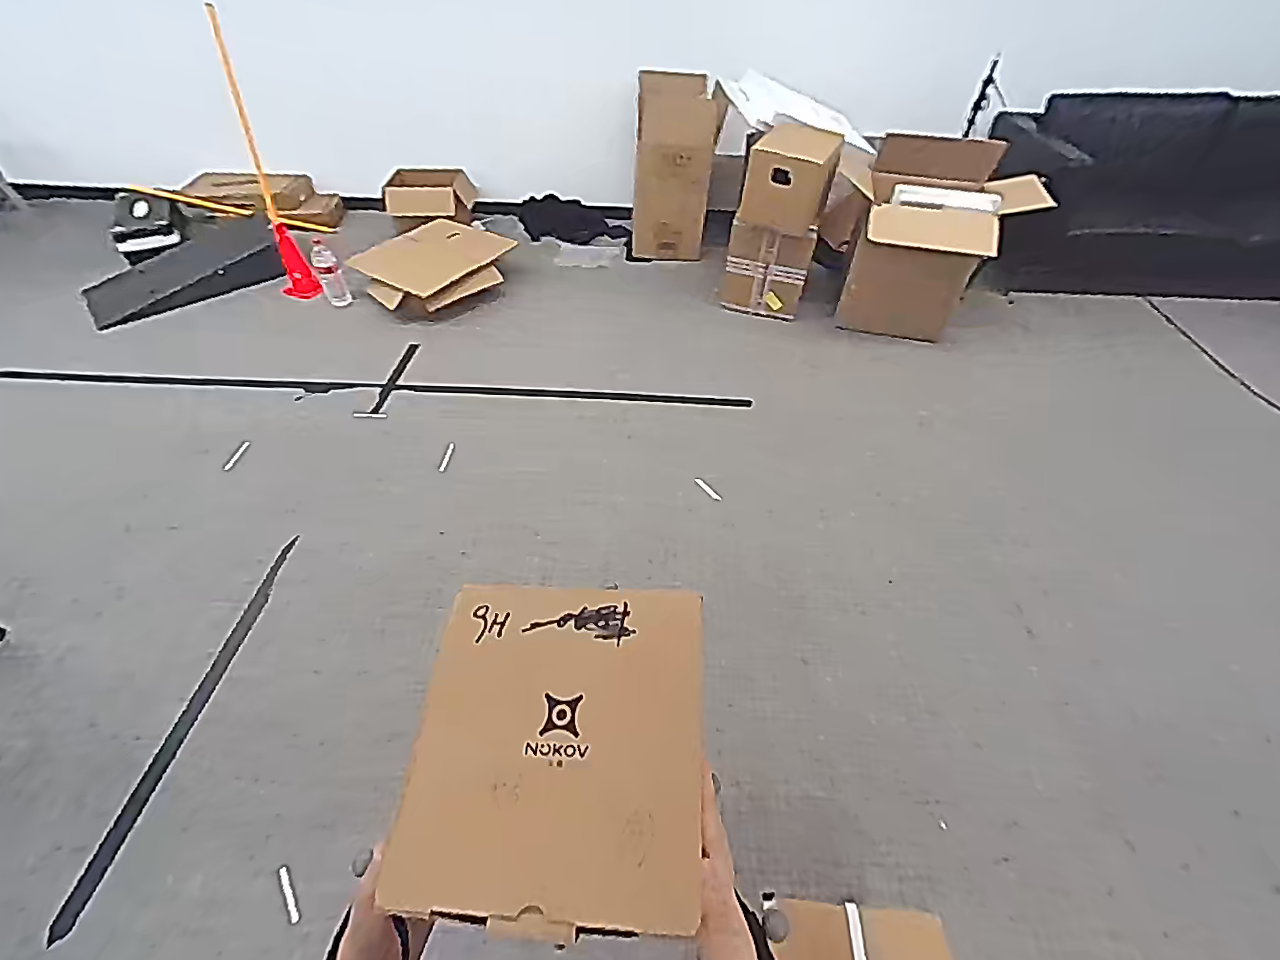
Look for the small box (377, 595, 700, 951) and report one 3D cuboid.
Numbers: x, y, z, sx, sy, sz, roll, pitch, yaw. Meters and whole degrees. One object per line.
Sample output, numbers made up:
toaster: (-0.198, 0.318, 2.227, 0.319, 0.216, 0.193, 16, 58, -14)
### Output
small box: (-0.042, 0.194, 0.377, 0.168, 0.176, 0.179, 0, 56, 5)
